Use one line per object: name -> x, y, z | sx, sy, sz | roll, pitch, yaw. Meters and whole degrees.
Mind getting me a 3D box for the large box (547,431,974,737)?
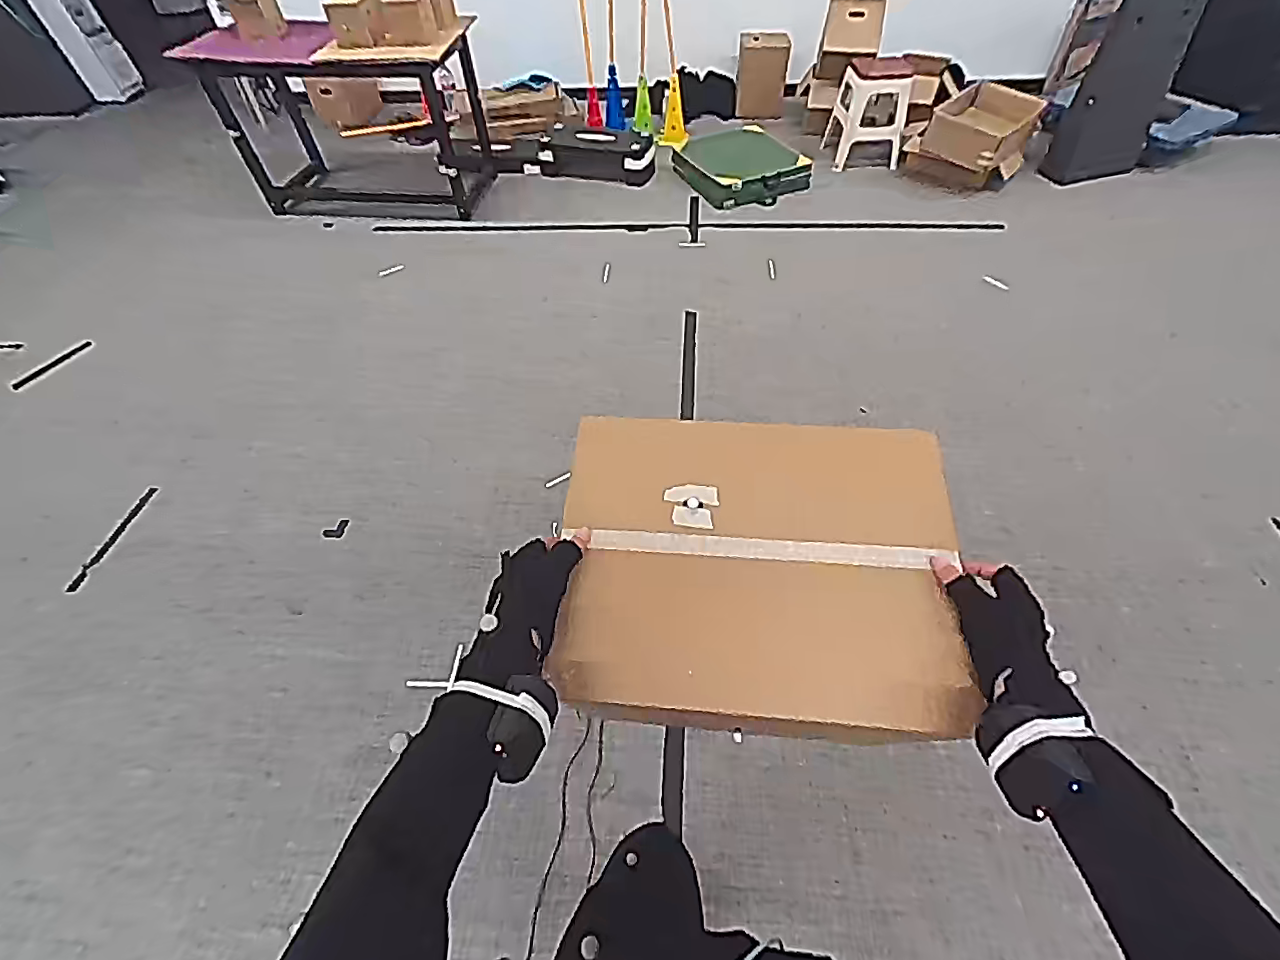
large box -> 0.129, 0.149, 0.703 | 0.408, 0.320, 0.320 | 3, 62, 6
